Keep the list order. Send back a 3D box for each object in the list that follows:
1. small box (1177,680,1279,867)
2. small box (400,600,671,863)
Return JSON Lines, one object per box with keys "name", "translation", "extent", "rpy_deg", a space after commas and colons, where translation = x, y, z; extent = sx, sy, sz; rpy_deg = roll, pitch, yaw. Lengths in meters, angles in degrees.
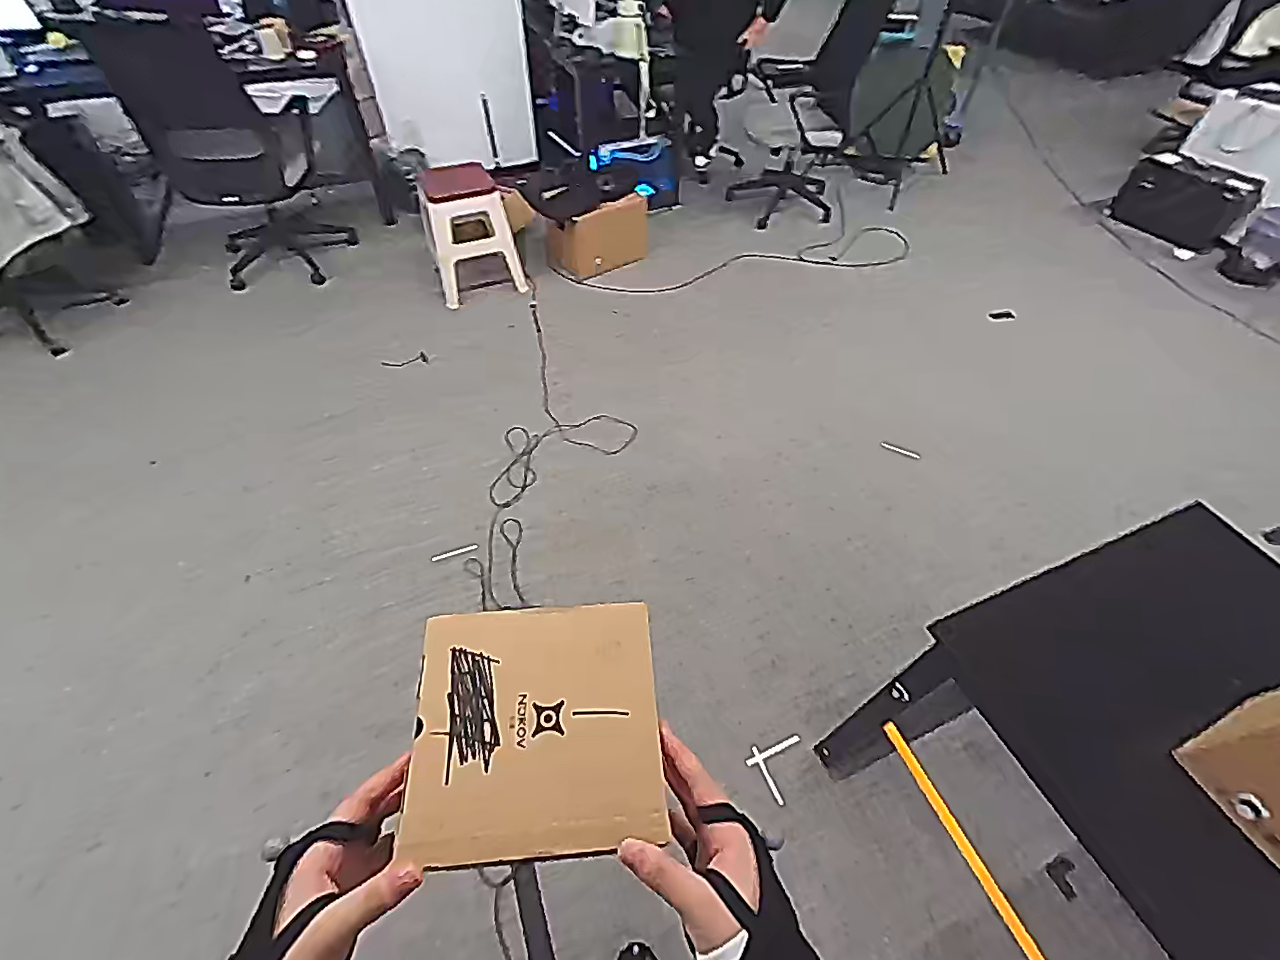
{"name": "small box", "translation": [0.791, 0.325, 0.614], "extent": [0.179, 0.176, 0.168], "rpy_deg": [-20, 53, -15]}
{"name": "small box", "translation": [-0.073, 0.214, 0.454], "extent": [0.179, 0.176, 0.168], "rpy_deg": [-3, 55, -4]}
